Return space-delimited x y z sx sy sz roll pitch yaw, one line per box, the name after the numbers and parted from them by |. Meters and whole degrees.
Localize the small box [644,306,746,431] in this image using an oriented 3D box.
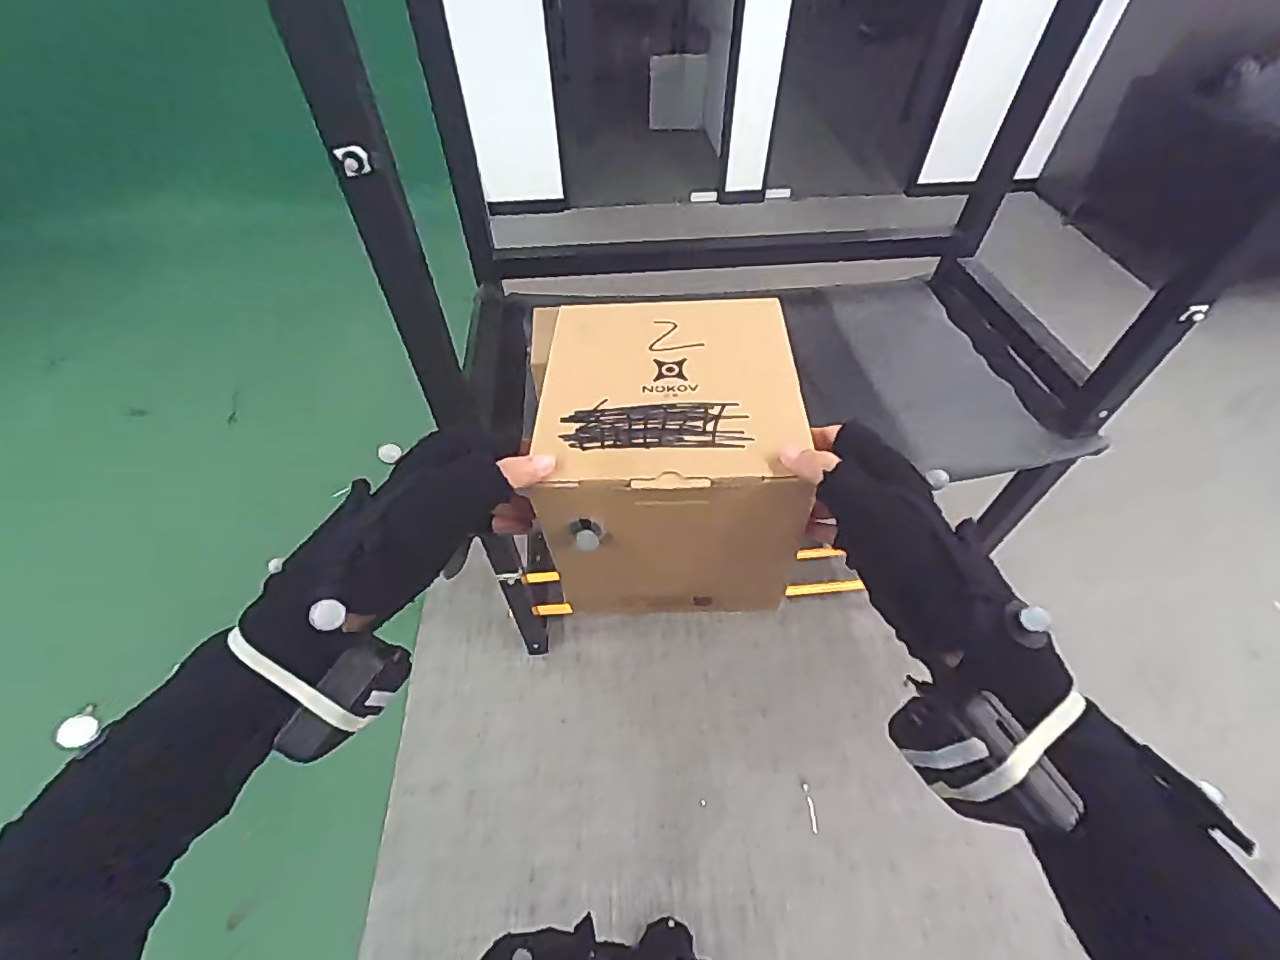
0.097 -0.216 1.049 0.168 0.176 0.179 -4 50 -3 | small box

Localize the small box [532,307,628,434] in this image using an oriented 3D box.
-0.110 -0.210 1.039 0.168 0.176 0.179 -5 50 -3 | small box
